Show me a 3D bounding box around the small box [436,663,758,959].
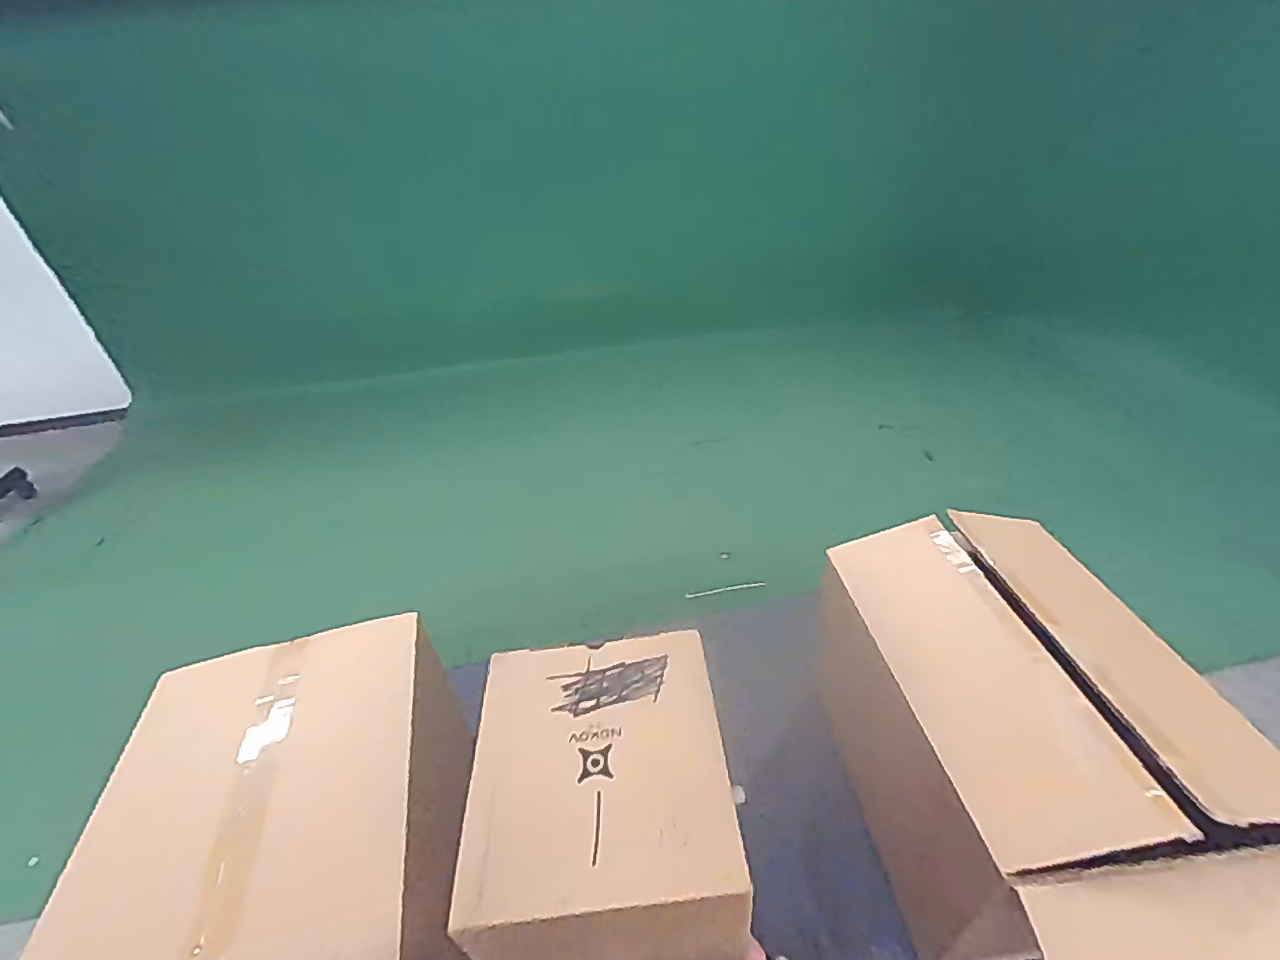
[{"bbox_3d":[-0.021,0.259,0.379,0.168,0.176,0.179,-8,38,0],"label":"small box"}]
